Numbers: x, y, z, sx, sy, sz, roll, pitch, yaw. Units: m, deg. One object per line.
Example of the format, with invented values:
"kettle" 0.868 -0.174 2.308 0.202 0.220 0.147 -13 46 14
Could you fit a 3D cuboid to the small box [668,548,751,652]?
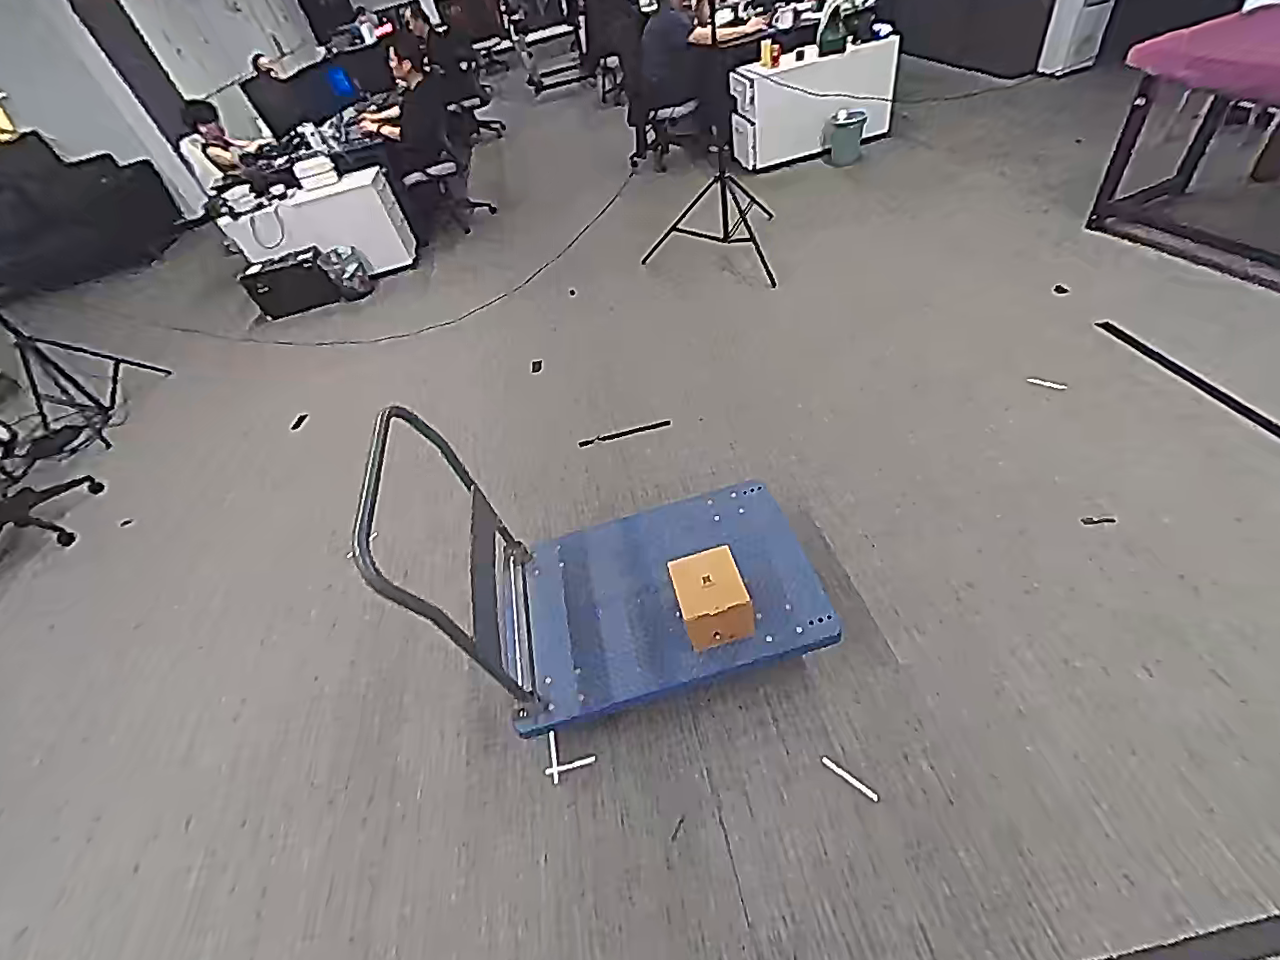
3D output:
"small box" 0.178 0.309 1.387 0.168 0.176 0.179 -17 46 -1
